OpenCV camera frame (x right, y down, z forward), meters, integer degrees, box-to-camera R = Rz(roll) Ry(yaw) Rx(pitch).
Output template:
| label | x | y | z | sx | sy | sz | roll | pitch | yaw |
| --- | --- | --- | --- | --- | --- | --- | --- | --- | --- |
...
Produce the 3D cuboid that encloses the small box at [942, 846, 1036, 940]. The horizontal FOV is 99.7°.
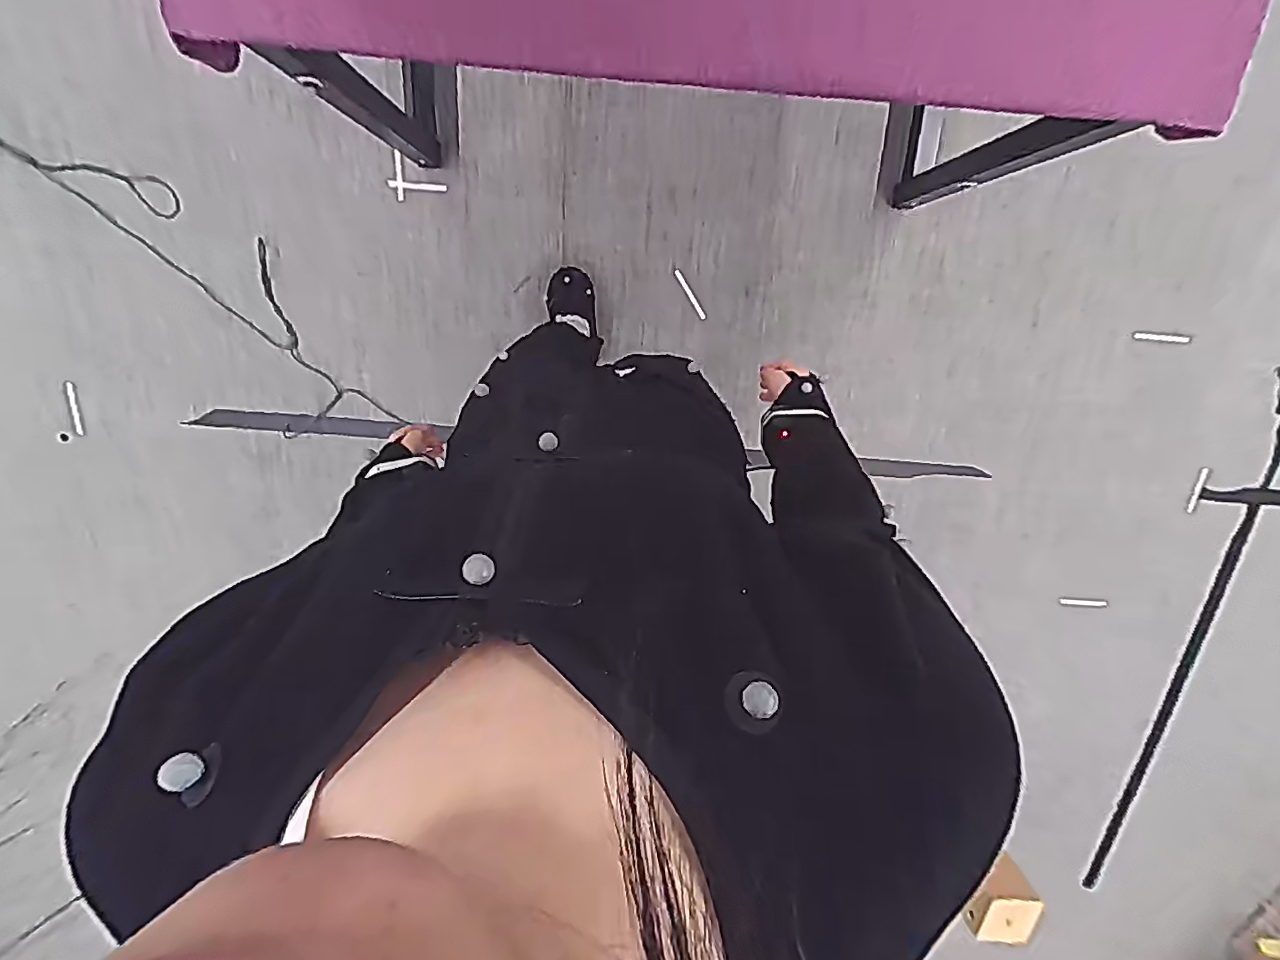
| label | x | y | z | sx | sy | sz | roll | pitch | yaw |
| --- | --- | --- | --- | --- | --- | --- | --- | --- | --- |
| small box | 1.104 | 1.316 | 1.727 | 0.168 | 0.176 | 0.179 | 7 | 107 | -5 |
